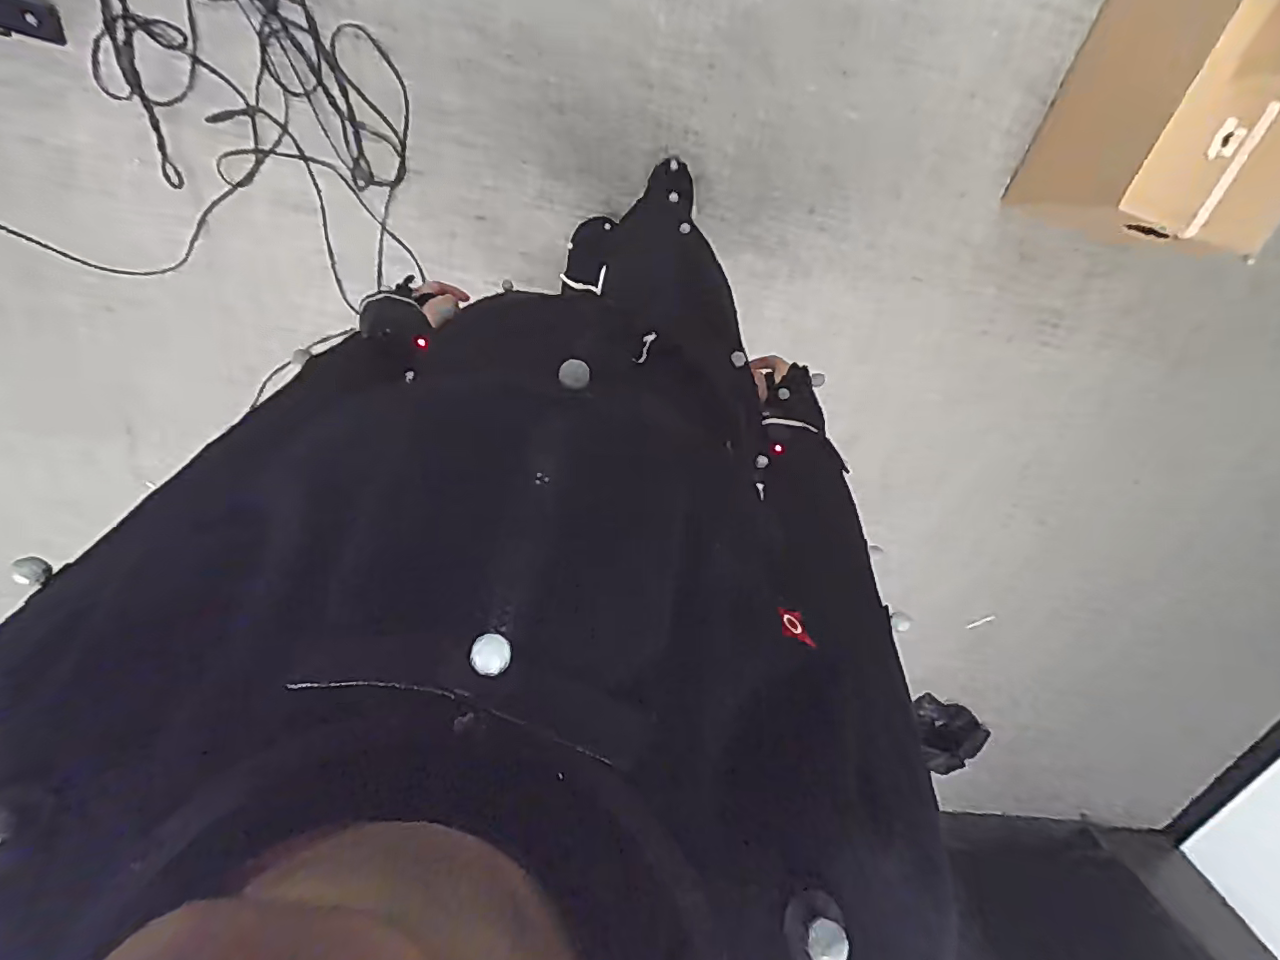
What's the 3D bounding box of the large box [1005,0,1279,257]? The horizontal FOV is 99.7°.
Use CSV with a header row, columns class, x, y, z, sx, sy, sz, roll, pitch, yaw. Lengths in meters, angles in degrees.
class,x,y,z,sx,sy,sz,roll,pitch,yaw
large box,0.996,-0.675,0.990,0.320,0.320,0.408,12,118,-9
